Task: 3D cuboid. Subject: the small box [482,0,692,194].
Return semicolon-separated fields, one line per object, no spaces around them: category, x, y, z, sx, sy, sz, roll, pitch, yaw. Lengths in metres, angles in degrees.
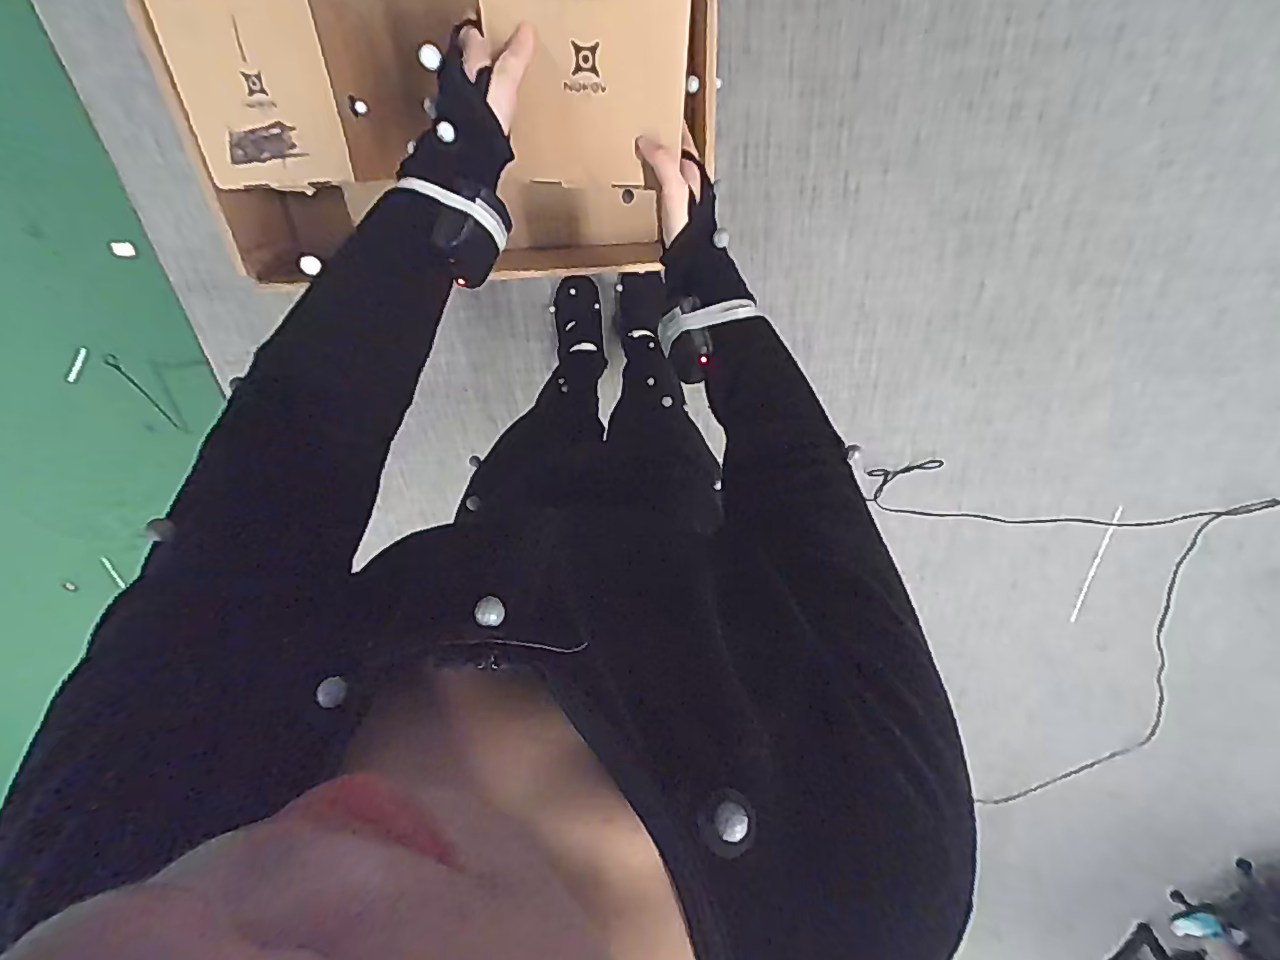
small box;-0.042;-0.377;0.506;0.168;0.176;0.179;3;120;-1
